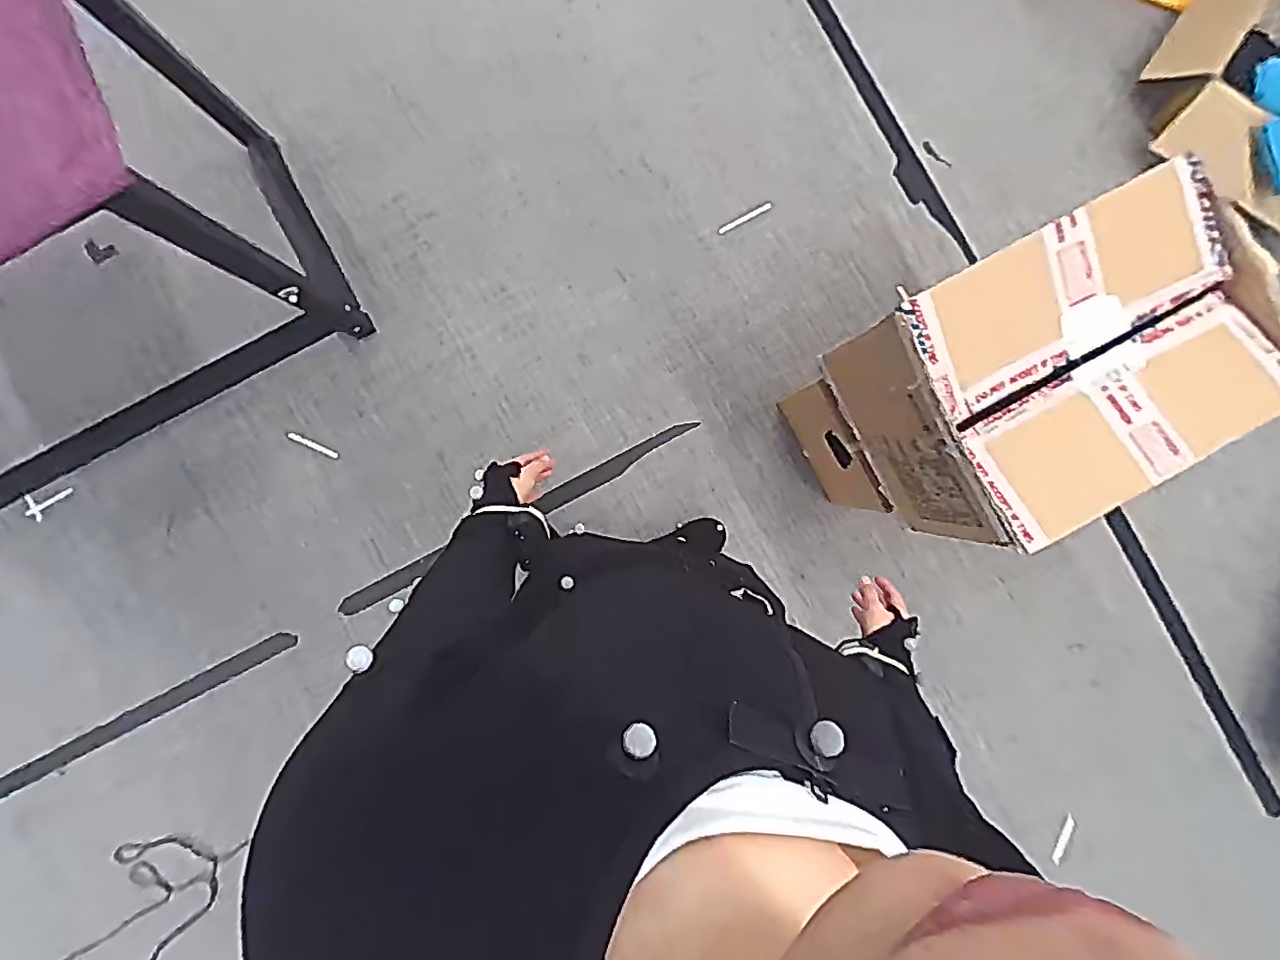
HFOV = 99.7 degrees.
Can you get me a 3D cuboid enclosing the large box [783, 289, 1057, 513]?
[{"bbox_3d":[0.610,-0.164,1.247,0.408,0.320,0.320,-29,90,1],"label":"large box"}]
